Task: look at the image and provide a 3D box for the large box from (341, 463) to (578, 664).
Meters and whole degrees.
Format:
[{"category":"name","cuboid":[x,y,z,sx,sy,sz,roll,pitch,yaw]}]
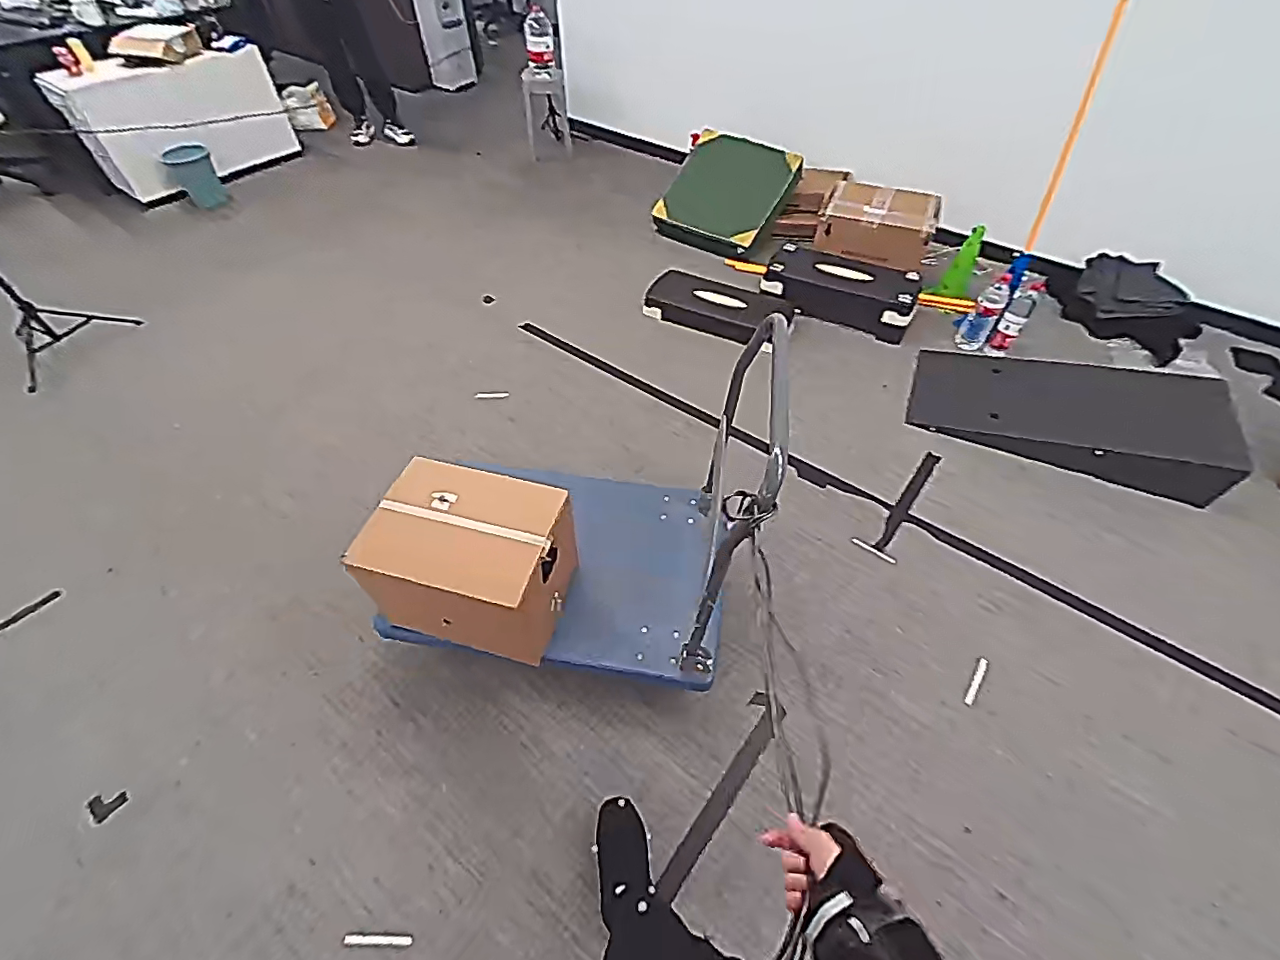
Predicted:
[{"category":"large box","cuboid":[-0.394,0.202,1.301,0.408,0.320,0.320,12,50,10]}]
